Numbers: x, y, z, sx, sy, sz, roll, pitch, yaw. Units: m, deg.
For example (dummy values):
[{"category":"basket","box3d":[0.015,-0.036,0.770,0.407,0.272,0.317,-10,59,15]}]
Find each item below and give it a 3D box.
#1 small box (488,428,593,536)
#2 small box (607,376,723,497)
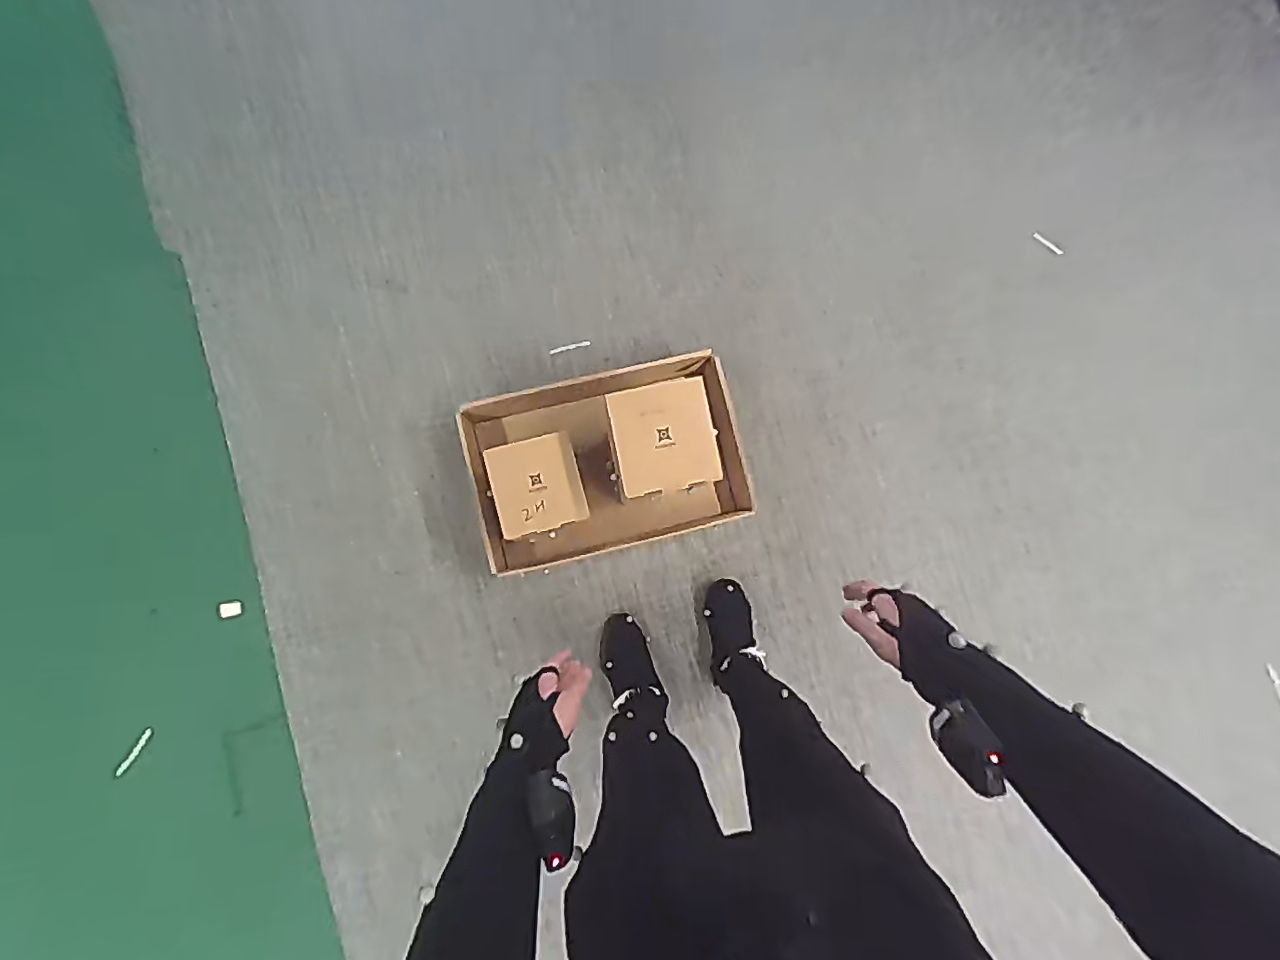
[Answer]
[{"category":"small box","box3d":[-0.196,0.011,1.090,0.168,0.176,0.179,-14,86,-6]},{"category":"small box","box3d":[0.039,-0.068,0.956,0.168,0.176,0.179,-11,87,-4]}]
